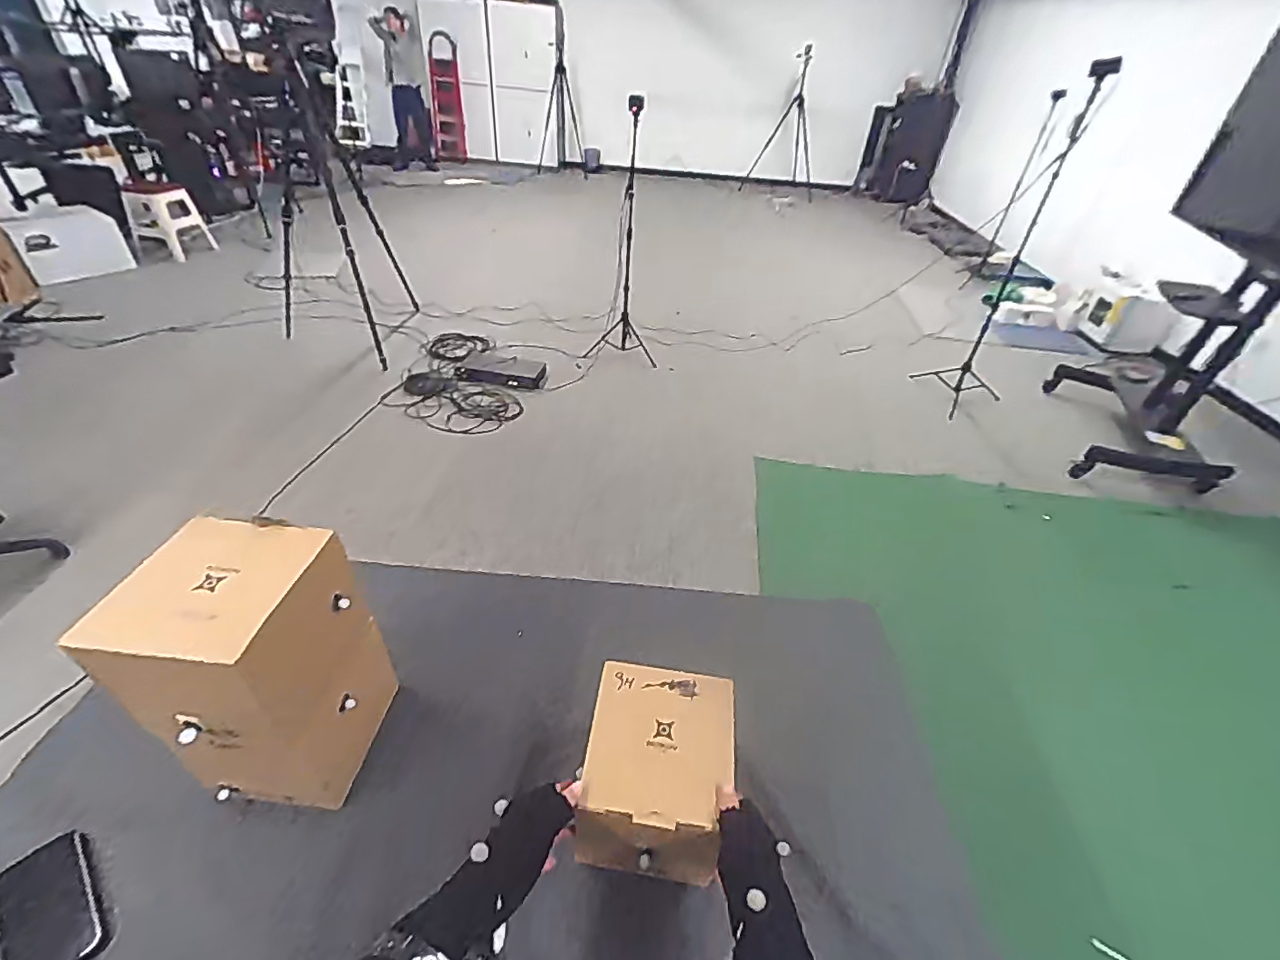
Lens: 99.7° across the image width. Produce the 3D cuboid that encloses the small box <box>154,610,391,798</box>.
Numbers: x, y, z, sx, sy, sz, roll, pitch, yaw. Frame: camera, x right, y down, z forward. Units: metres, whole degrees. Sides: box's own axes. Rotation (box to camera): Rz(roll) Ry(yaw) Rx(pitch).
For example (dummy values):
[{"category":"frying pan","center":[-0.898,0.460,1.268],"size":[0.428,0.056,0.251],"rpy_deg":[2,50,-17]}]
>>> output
[{"category":"small box","center":[-0.448,0.281,0.700],"size":[0.168,0.176,0.179],"rpy_deg":[7,37,2]}]

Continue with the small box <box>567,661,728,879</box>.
[{"category":"small box","center":[0.013,0.356,0.664],"size":[0.168,0.176,0.179],"rpy_deg":[8,39,3]}]

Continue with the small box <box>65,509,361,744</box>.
[{"category":"small box","center":[-0.435,0.158,0.596],"size":[0.168,0.176,0.179],"rpy_deg":[6,39,1]}]
